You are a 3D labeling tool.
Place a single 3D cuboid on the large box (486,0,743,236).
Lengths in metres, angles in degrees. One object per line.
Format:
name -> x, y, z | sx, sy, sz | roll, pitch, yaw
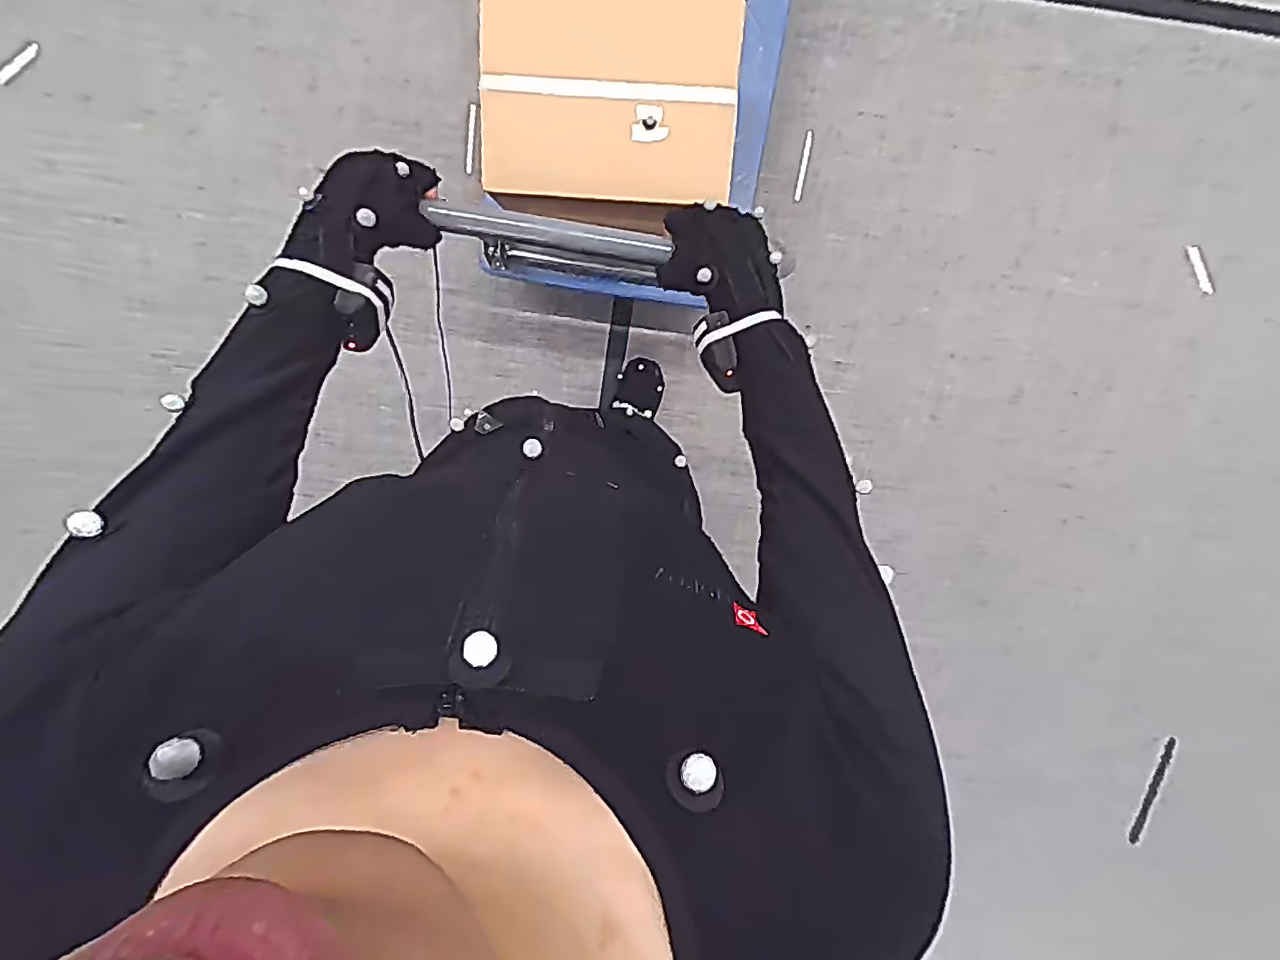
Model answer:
large box -> -0.047, -0.656, 1.005 | 0.408, 0.320, 0.320 | 3, 104, -1
